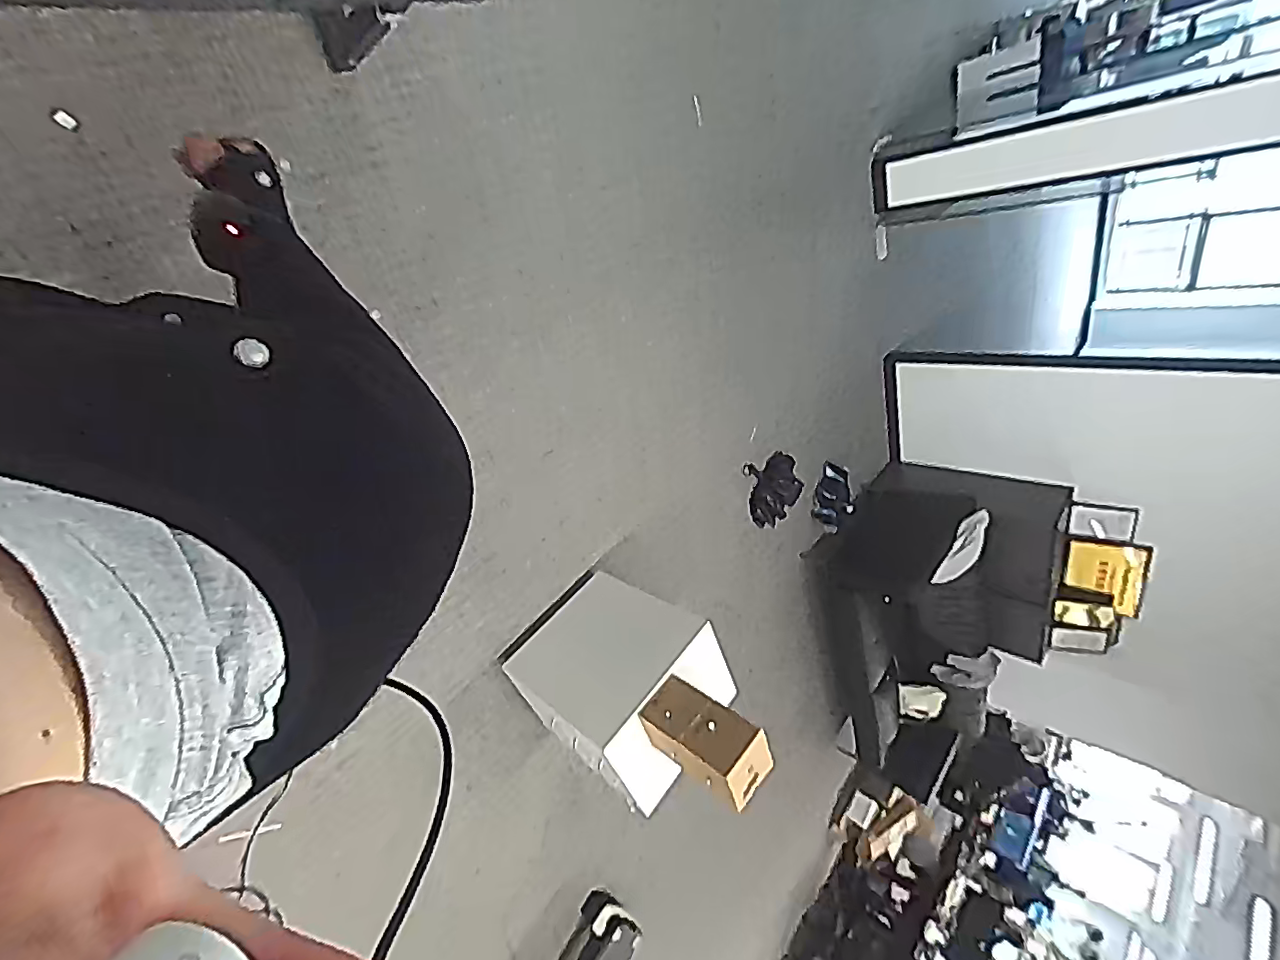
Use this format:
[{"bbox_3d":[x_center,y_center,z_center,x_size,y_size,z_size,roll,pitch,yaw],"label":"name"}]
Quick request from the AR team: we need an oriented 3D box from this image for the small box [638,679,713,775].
[{"bbox_3d":[0.117,0.718,1.598,0.168,0.176,0.179,-40,128,-30],"label":"small box"}]

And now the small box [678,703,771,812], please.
[{"bbox_3d":[0.231,0.751,1.484,0.168,0.176,0.179,-39,125,-31],"label":"small box"}]
